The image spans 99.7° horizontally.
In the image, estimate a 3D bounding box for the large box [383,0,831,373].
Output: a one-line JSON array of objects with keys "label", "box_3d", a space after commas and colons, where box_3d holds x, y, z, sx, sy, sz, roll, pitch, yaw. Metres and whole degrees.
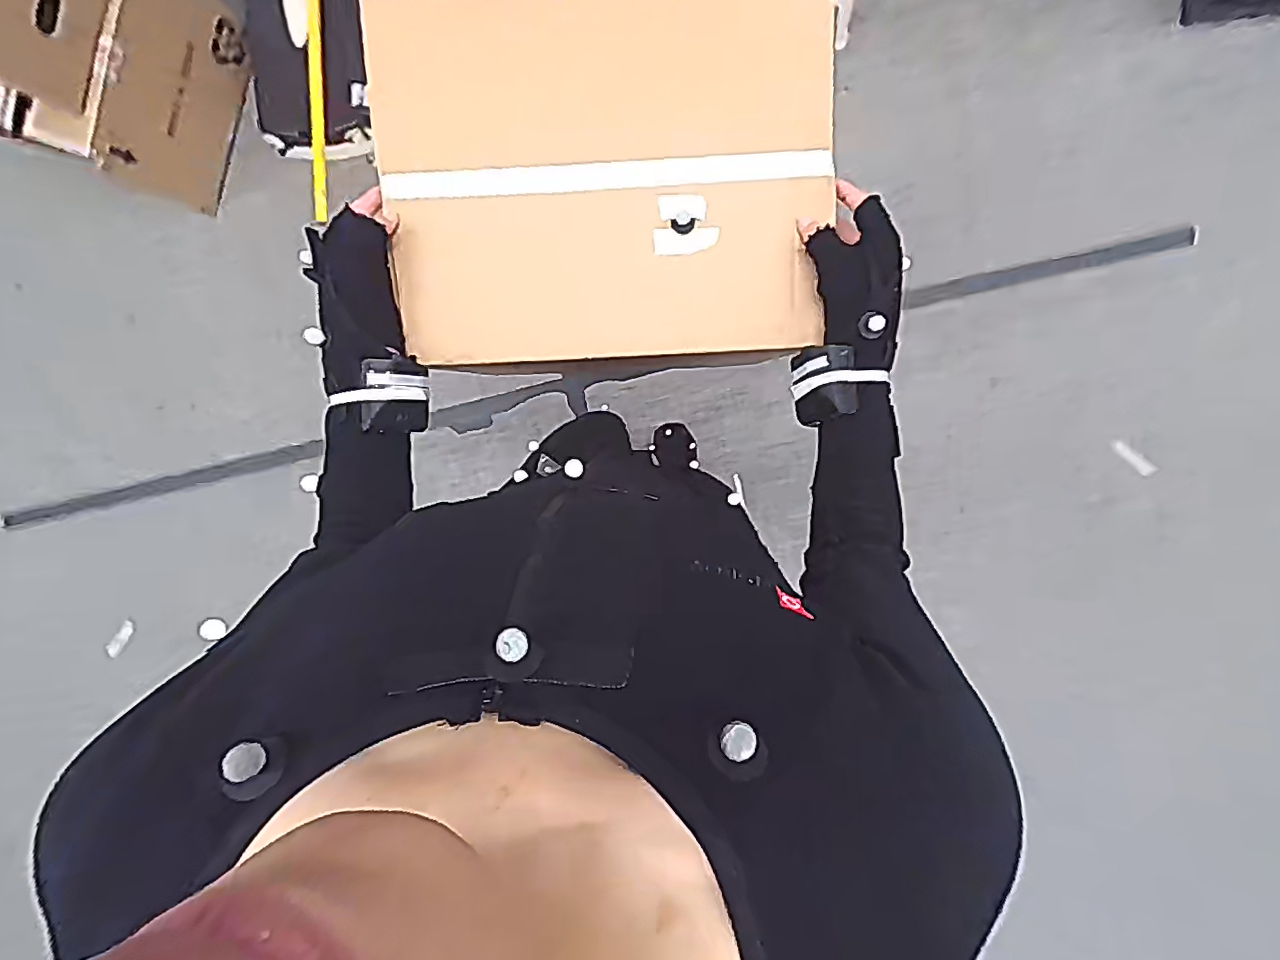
[{"label": "large box", "box_3d": [-0.026, -0.300, 0.644, 0.408, 0.320, 0.320, -2, 99, 0]}]

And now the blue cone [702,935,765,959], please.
[{"label": "blue cone", "box_3d": [0.266, 1.489, 1.468, 0.193, 0.380, 0.192, 10, 96, 2]}]
